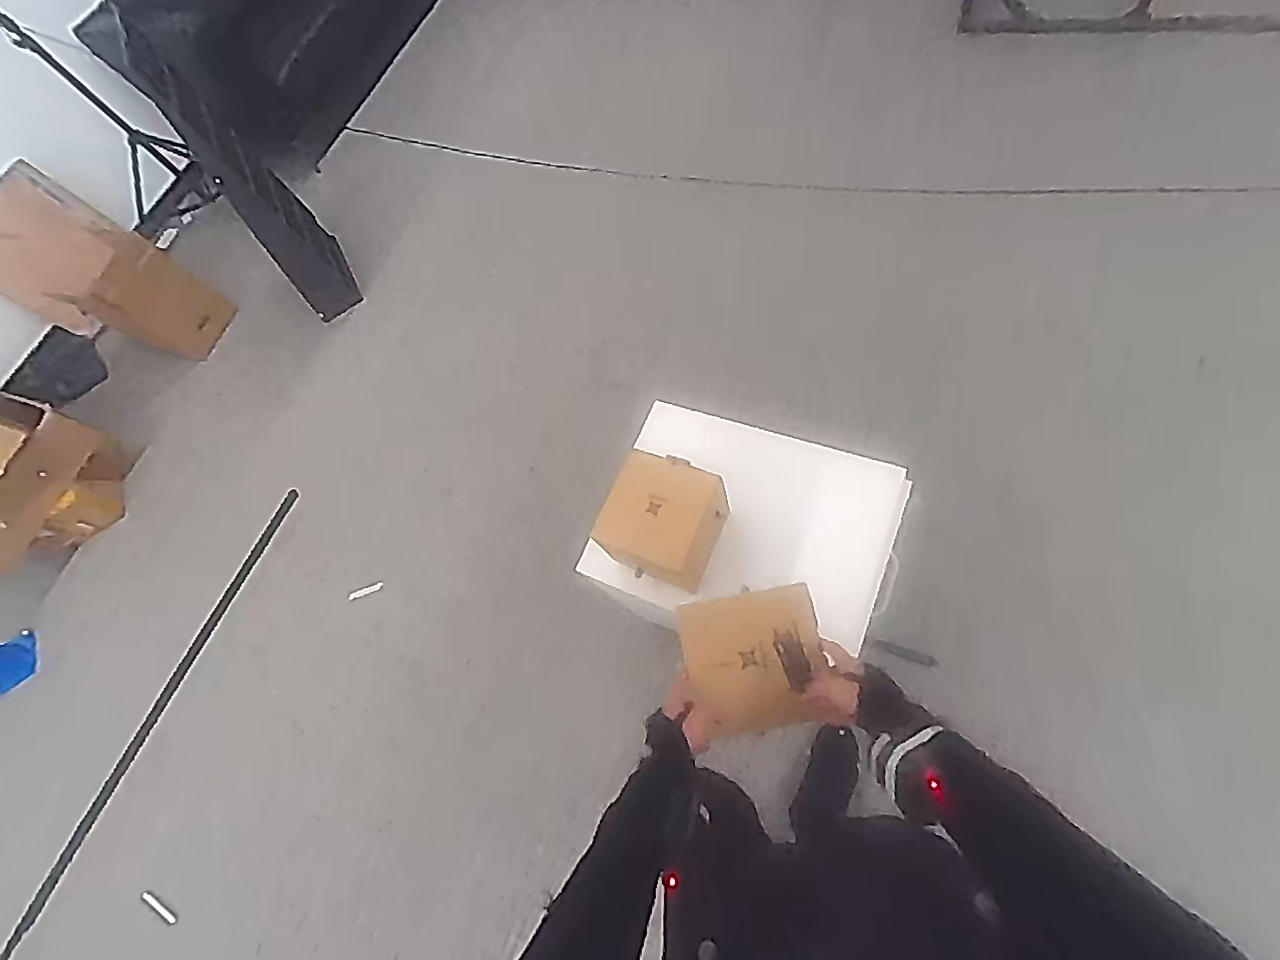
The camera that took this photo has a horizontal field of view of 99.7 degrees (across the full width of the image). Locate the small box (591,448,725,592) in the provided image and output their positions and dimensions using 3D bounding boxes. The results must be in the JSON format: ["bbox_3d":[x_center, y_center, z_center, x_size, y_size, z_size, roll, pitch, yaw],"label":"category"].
[{"bbox_3d":[0.043,0.074,0.947,0.168,0.176,0.179,20,73,22],"label":"small box"}]

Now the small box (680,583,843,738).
[{"bbox_3d":[0.154,0.246,0.749,0.179,0.176,0.168,-11,70,2],"label":"small box"}]
